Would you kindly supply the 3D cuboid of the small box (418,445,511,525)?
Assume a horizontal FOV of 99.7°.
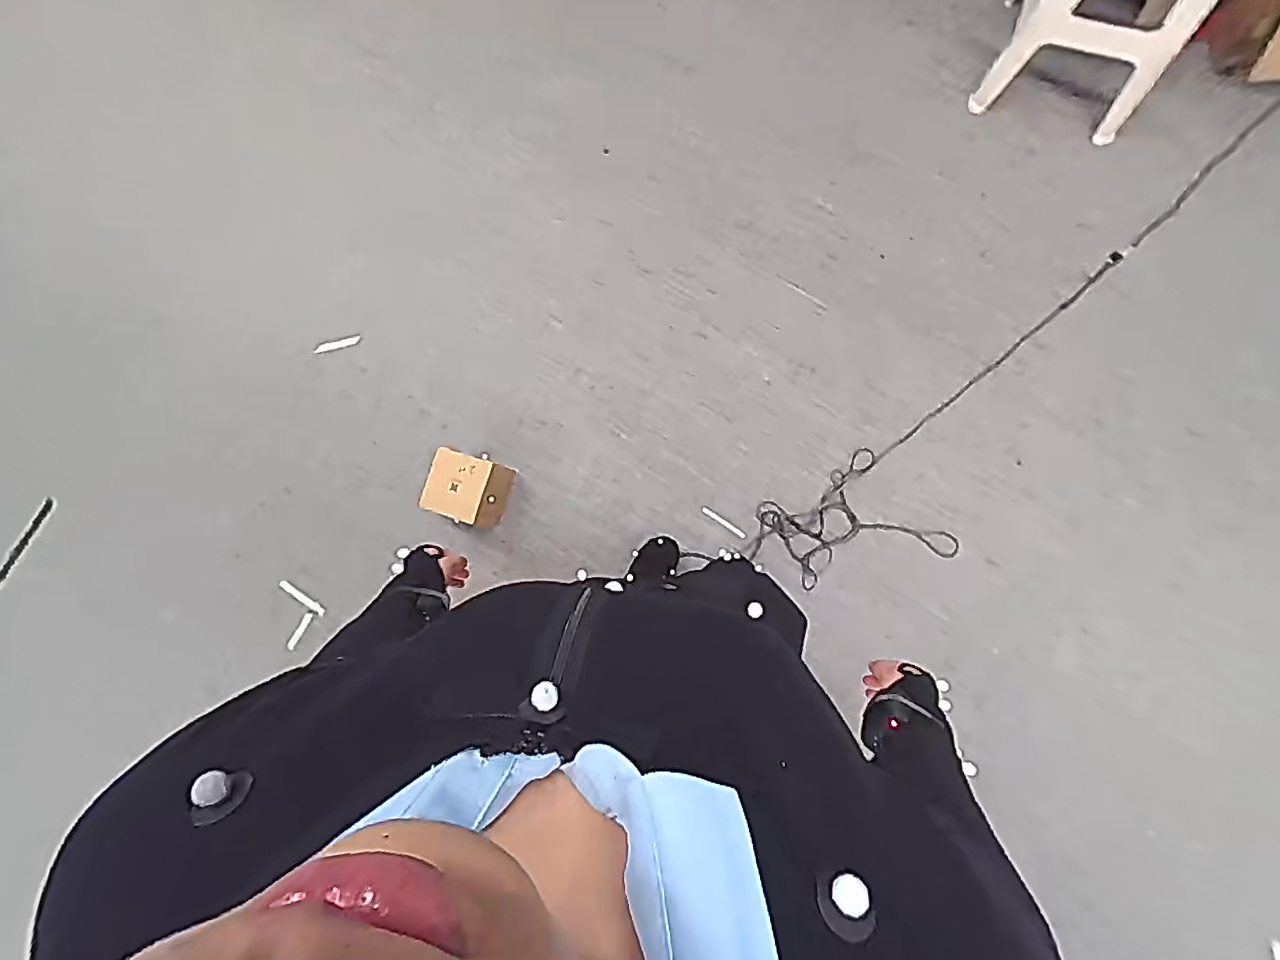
[{"bbox_3d":[-0.480,0.021,1.507,0.168,0.176,0.179,17,85,9],"label":"small box"}]
